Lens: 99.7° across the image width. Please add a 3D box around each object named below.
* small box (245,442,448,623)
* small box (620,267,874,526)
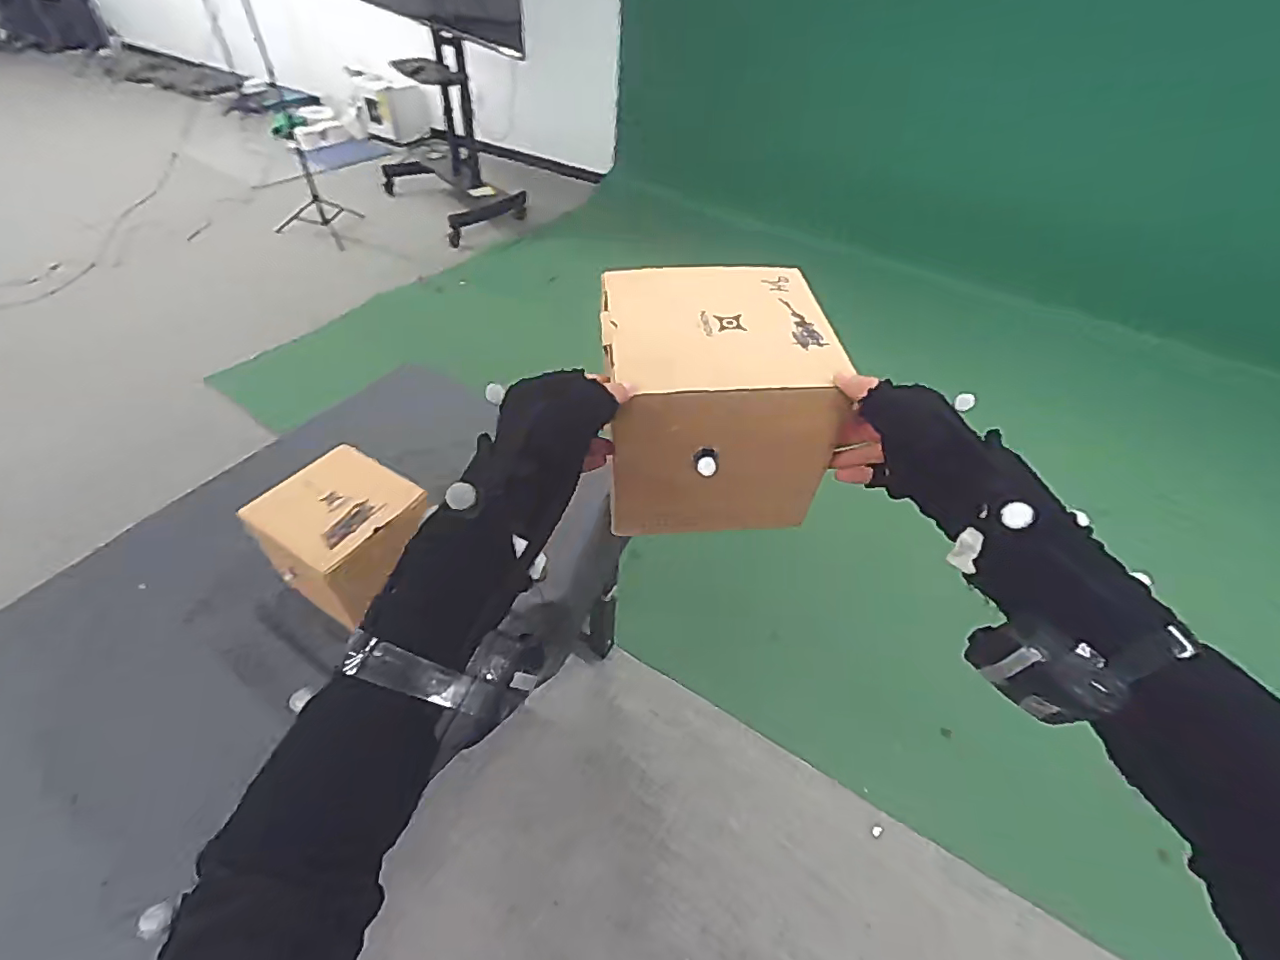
[{"bbox_3d":[-0.409,0.081,0.787,0.179,0.176,0.168,26,49,19],"label":"small box"},{"bbox_3d":[0.074,-0.071,0.487,0.179,0.176,0.168,-2,50,-4],"label":"small box"}]
